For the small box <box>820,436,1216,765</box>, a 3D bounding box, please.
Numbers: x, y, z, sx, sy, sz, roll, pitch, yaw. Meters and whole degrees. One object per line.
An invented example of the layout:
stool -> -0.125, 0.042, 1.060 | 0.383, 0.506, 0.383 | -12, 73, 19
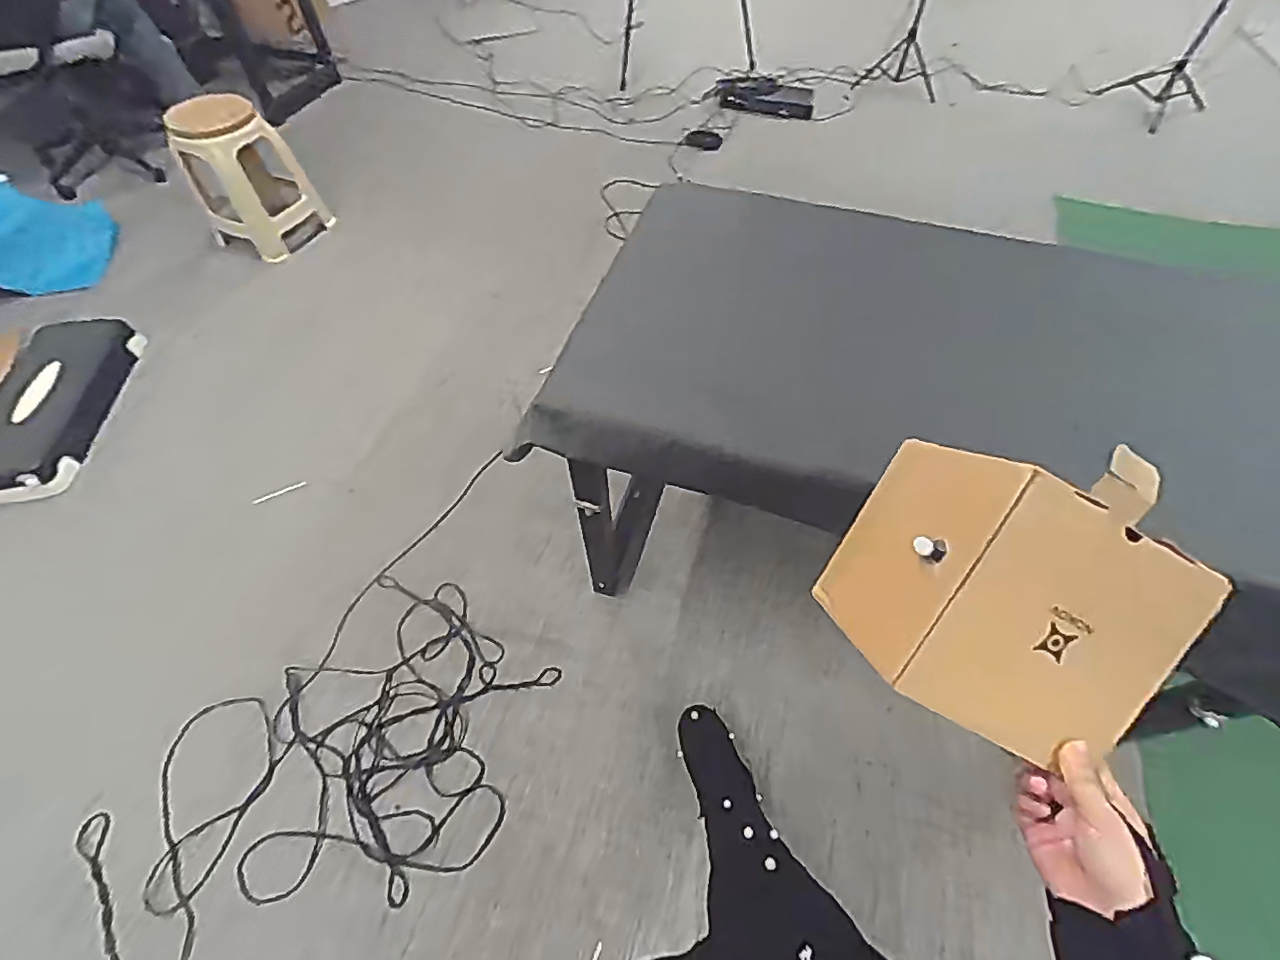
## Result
small box -> 0.273, 0.079, 0.443 | 0.168, 0.176, 0.179 | 27, 97, -6
